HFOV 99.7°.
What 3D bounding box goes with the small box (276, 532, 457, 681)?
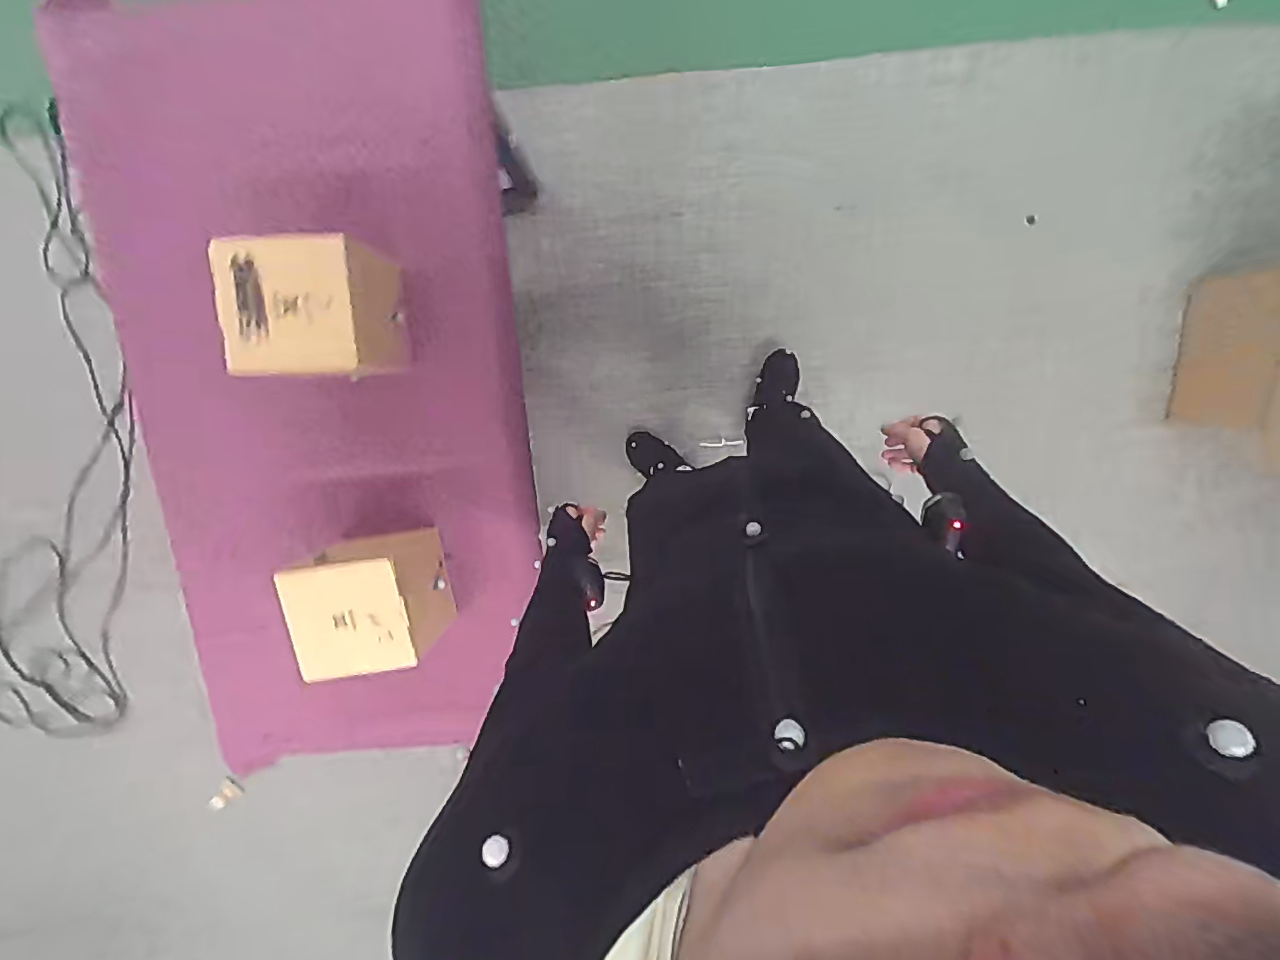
[{"bbox_3d":[-0.415,0.189,0.847,0.179,0.176,0.168,-9,99,3],"label":"small box"}]
